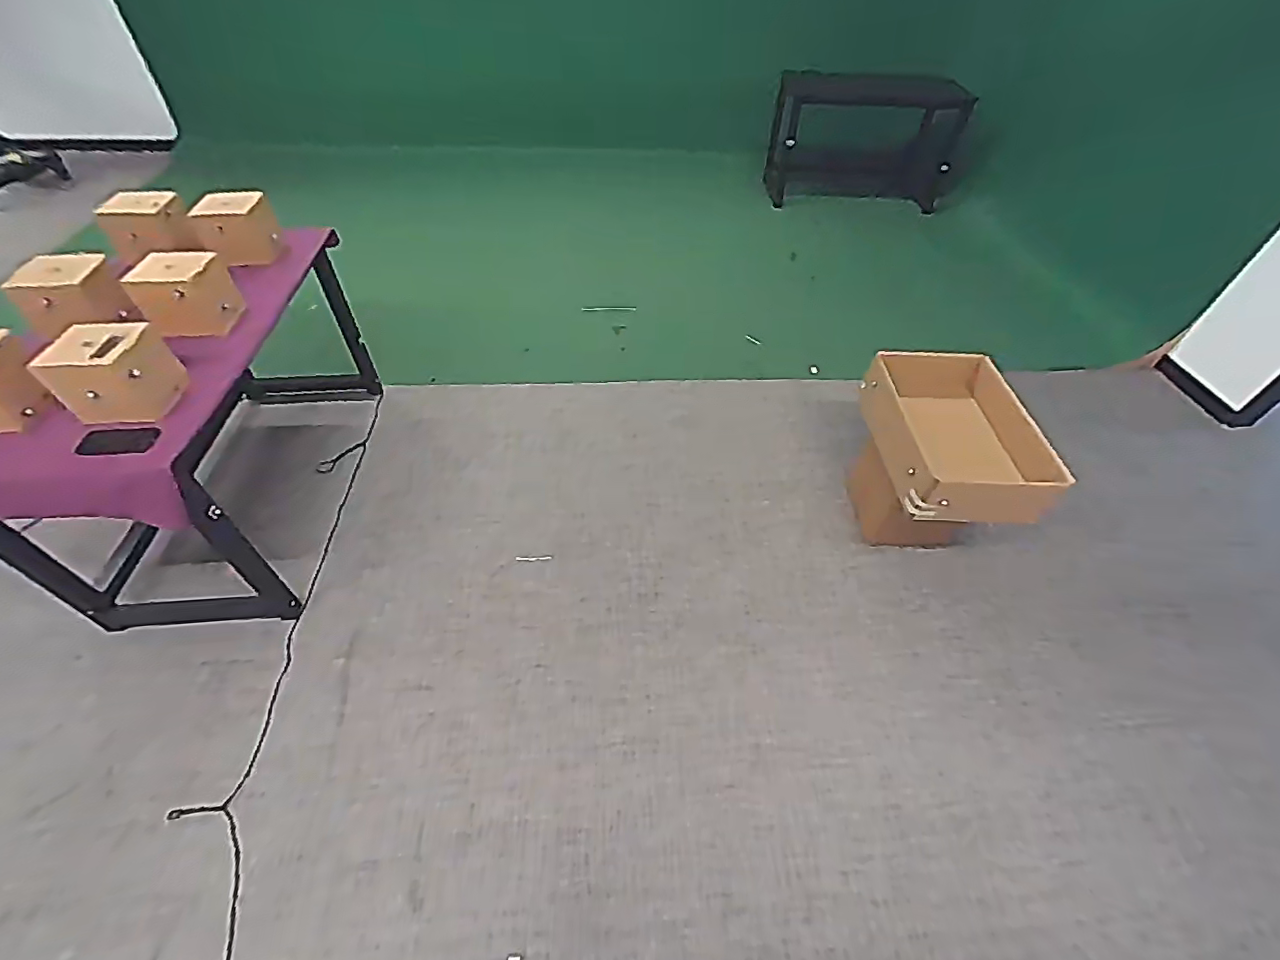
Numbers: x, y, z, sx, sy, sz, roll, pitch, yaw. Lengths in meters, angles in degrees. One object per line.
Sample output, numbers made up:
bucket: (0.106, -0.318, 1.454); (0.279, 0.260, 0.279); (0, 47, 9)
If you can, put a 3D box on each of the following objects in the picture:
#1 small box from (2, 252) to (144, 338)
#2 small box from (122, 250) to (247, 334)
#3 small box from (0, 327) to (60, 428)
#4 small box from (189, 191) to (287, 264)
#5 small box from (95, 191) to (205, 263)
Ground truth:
small box: (-1.538, -0.504, 1.481); (0.179, 0.176, 0.168); (-4, 49, -8)
small box: (-1.261, -0.523, 1.512); (0.179, 0.176, 0.168); (-2, 48, -3)
small box: (-1.513, -0.230, 1.233); (0.179, 0.176, 0.168); (-5, 48, -7)
small box: (-1.312, -0.827, 1.778); (0.179, 0.176, 0.168); (-4, 50, -5)
small box: (-1.586, -0.823, 1.764); (0.179, 0.176, 0.168); (-4, 49, -6)
